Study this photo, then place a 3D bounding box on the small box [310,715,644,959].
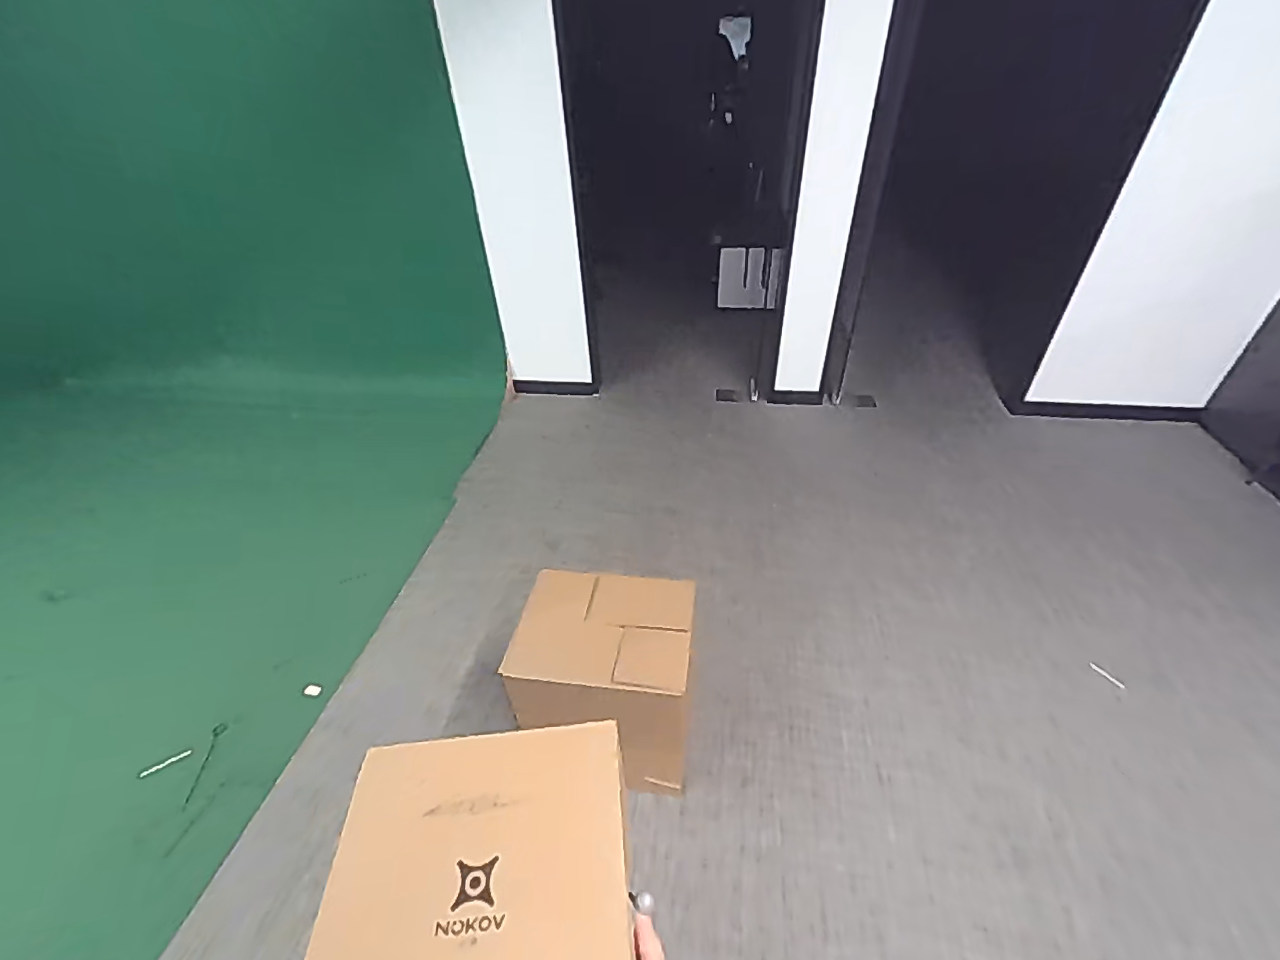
[{"bbox_3d":[-0.084,0.282,0.347,0.168,0.176,0.179,-5,38,-3],"label":"small box"}]
